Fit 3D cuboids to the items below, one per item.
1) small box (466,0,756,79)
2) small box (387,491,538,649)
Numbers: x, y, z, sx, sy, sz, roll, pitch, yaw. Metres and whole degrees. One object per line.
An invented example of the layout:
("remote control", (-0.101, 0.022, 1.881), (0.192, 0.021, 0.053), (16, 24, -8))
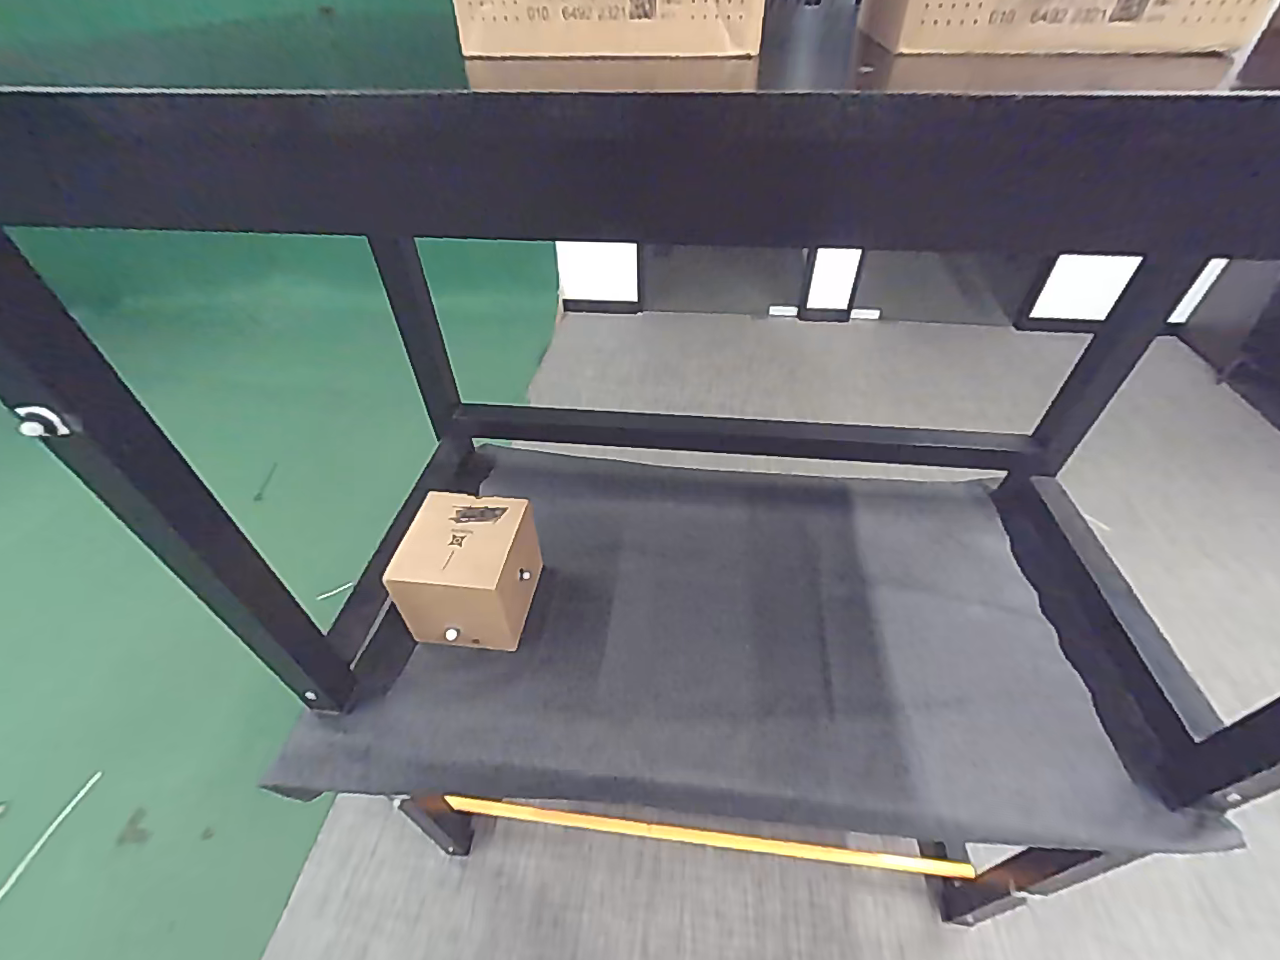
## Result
("small box", (-0.011, -0.349, 0.318), (0.168, 0.176, 0.179), (4, 43, 6))
("small box", (-0.266, 0.142, 0.863), (0.168, 0.176, 0.179), (4, 44, 5))
